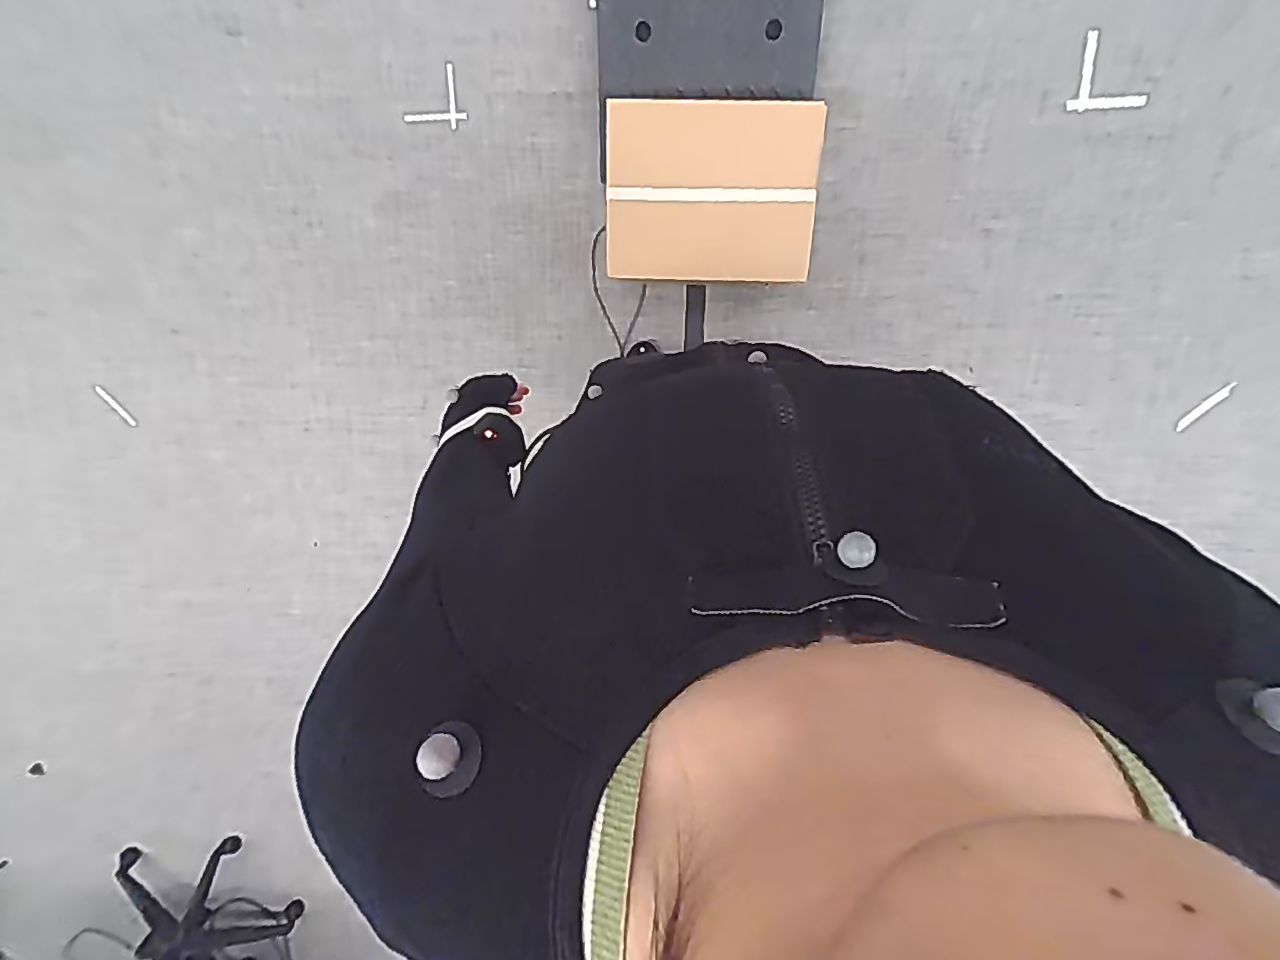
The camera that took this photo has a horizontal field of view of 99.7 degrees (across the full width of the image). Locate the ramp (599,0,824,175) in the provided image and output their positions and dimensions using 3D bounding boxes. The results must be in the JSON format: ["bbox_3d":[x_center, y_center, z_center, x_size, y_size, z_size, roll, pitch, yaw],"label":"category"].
[{"bbox_3d":[0.155,-1.191,1.102,0.509,0.206,0.991,-1,105,2],"label":"ramp"}]

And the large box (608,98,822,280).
[{"bbox_3d":[0.146,-0.608,1.189,0.408,0.320,0.320,2,108,2],"label":"large box"}]
